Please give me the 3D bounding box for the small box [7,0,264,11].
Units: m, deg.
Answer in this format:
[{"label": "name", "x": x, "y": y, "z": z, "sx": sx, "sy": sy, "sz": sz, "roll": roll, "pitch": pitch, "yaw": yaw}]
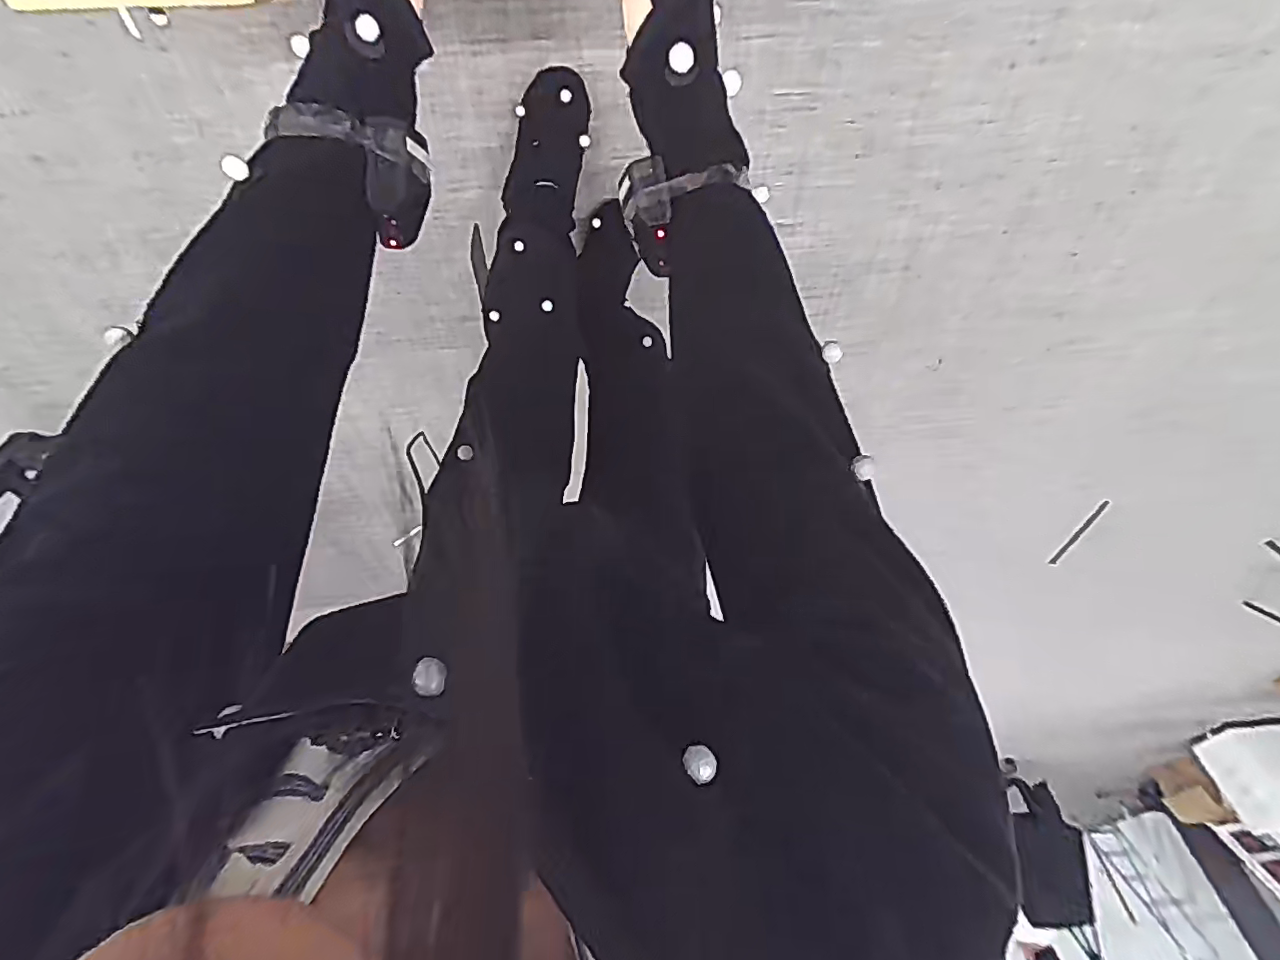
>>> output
[{"label": "small box", "x": -0.368, "y": -0.454, "z": 0.386, "sx": 0.179, "sy": 0.176, "sz": 0.168, "roll": -5, "pitch": 138, "yaw": -4}]
